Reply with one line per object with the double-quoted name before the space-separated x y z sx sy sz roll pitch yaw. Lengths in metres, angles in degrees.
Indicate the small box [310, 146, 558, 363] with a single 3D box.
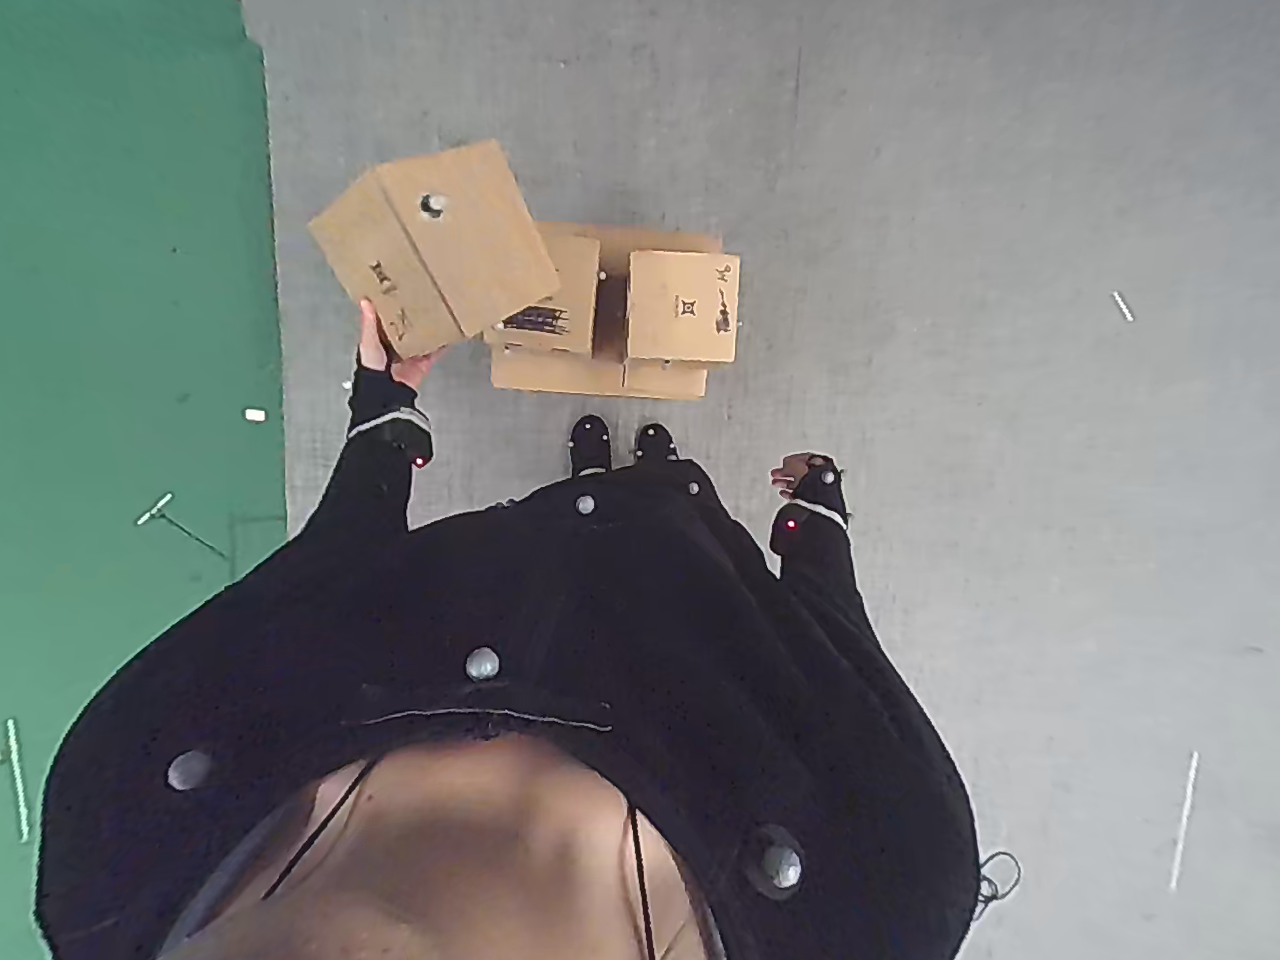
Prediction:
"small box" -0.232 -0.263 0.634 0.176 0.168 0.179 -48 124 -35
